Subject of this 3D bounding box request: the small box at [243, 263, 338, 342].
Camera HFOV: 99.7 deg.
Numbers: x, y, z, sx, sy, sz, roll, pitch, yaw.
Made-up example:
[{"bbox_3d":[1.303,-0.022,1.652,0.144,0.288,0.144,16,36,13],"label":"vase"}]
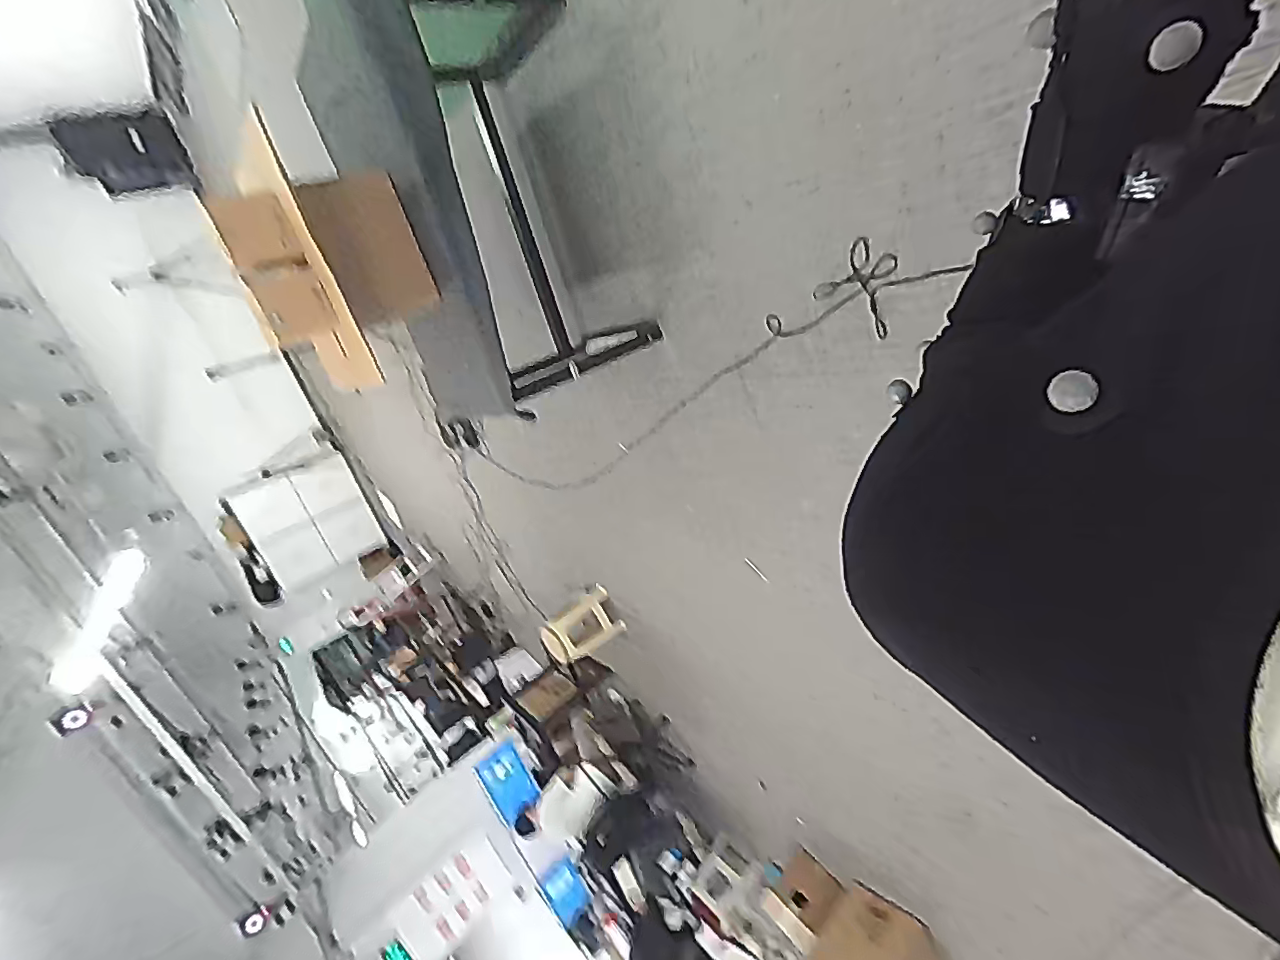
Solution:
[{"bbox_3d":[-0.985,-0.500,1.529,0.179,0.176,0.168,10,125,50],"label":"small box"}]
